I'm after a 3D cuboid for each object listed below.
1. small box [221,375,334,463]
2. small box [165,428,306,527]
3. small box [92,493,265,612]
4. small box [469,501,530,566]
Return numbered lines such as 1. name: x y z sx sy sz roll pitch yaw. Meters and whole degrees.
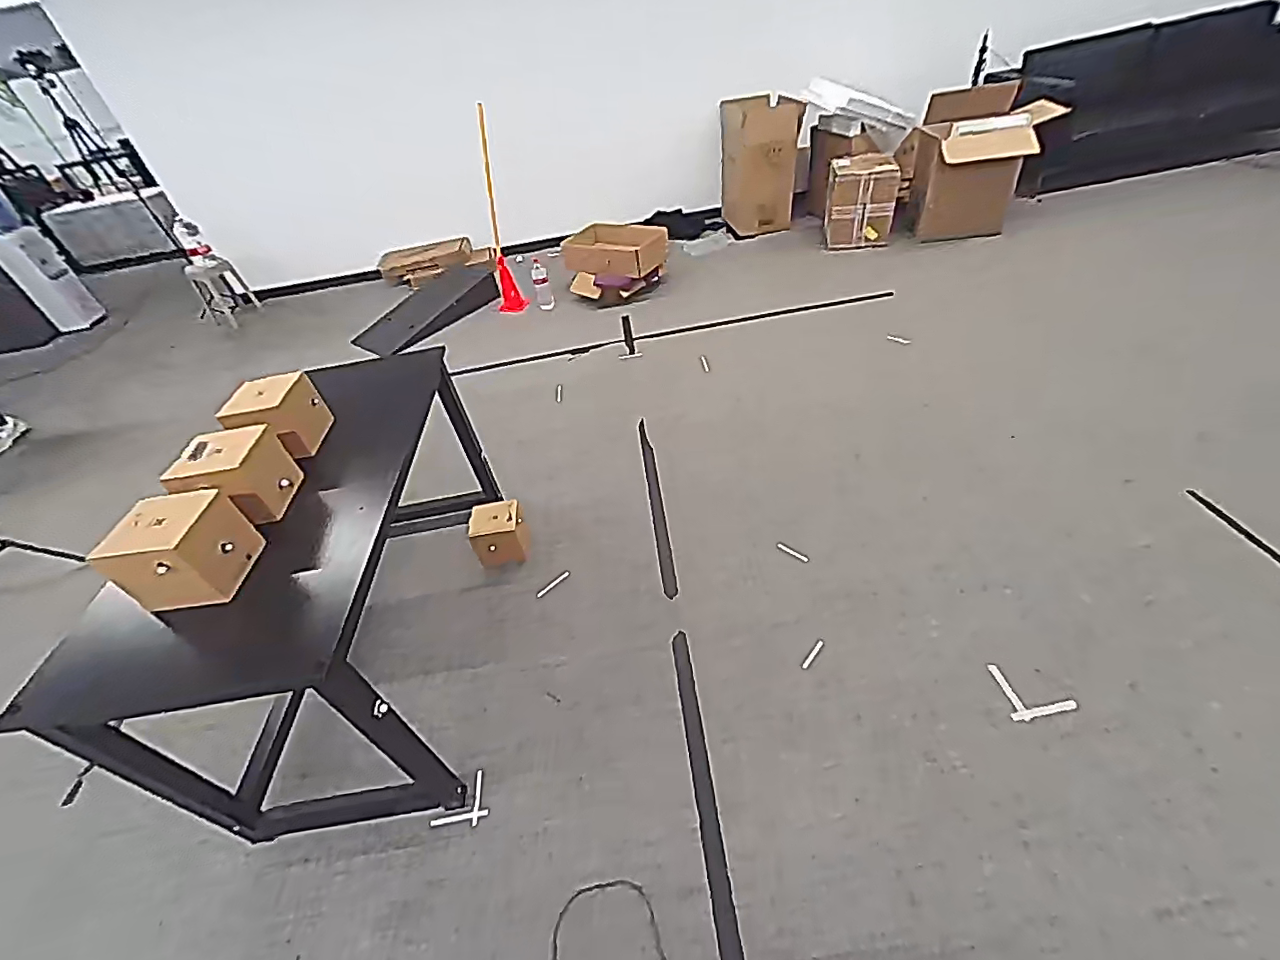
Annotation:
1. small box: -0.968 -0.158 1.467 0.168 0.176 0.179 -11 42 2
2. small box: -0.943 0.003 1.279 0.179 0.176 0.168 -10 41 -1
3. small box: -0.926 0.150 1.111 0.179 0.176 0.168 -8 41 3
4. small box: -0.531 0.210 2.064 0.179 0.176 0.168 -11 42 1
